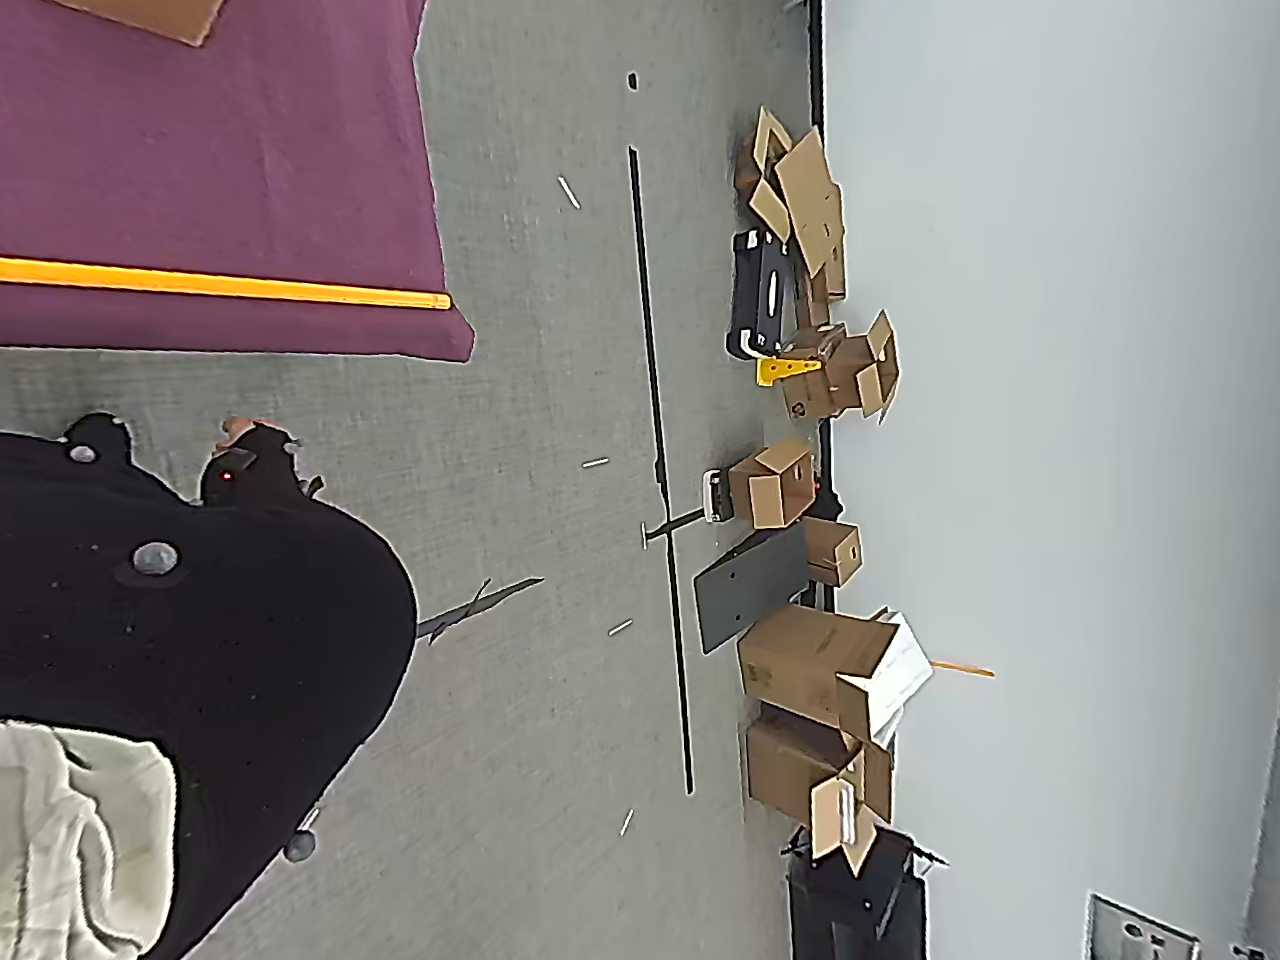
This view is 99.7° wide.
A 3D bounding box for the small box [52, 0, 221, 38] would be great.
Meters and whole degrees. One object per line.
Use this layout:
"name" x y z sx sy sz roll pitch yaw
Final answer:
"small box" -0.595 -0.636 0.594 0.179 0.176 0.168 -16 107 -47
